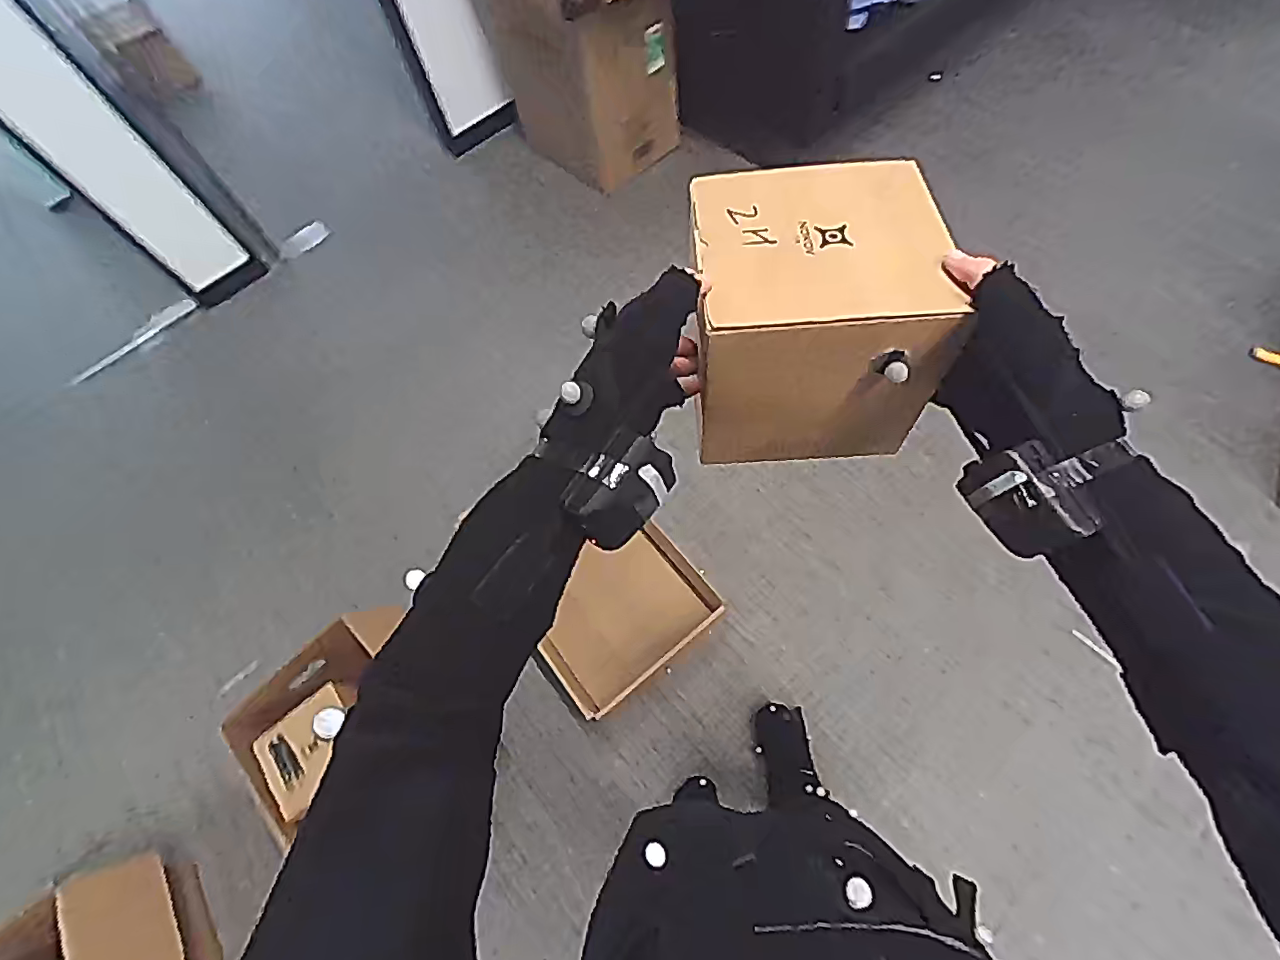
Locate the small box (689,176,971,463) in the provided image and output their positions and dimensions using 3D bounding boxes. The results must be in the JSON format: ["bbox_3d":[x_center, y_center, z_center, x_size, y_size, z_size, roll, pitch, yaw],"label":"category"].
[{"bbox_3d":[0.135,-0.128,0.466,0.179,0.176,0.168,-3,59,3],"label":"small box"}]
